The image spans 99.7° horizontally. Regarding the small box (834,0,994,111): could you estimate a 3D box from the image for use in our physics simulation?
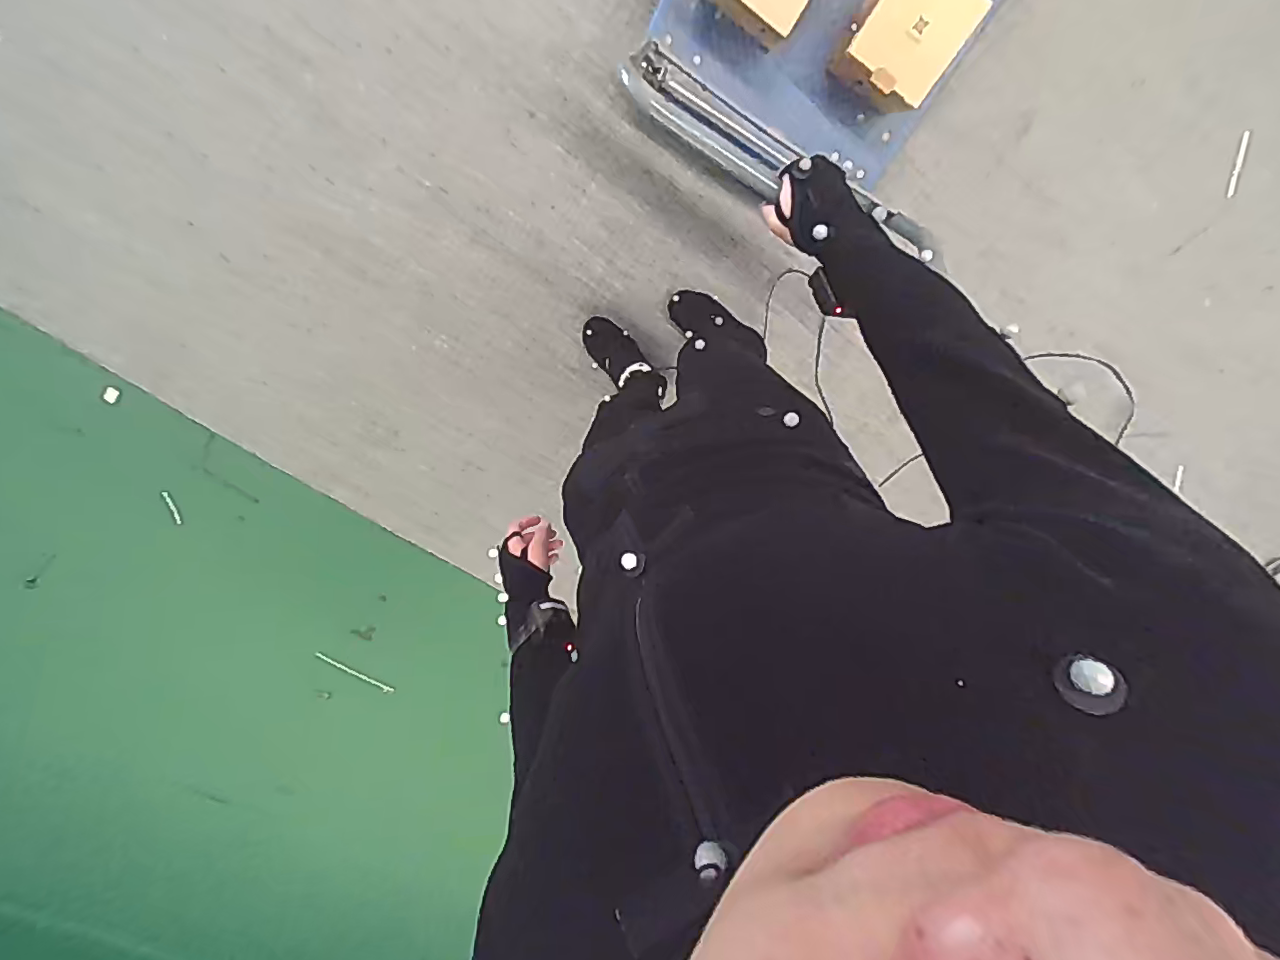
[{"bbox_3d":[0.485,-0.815,0.989,0.168,0.176,0.179,29,121,-13],"label":"small box"}]
